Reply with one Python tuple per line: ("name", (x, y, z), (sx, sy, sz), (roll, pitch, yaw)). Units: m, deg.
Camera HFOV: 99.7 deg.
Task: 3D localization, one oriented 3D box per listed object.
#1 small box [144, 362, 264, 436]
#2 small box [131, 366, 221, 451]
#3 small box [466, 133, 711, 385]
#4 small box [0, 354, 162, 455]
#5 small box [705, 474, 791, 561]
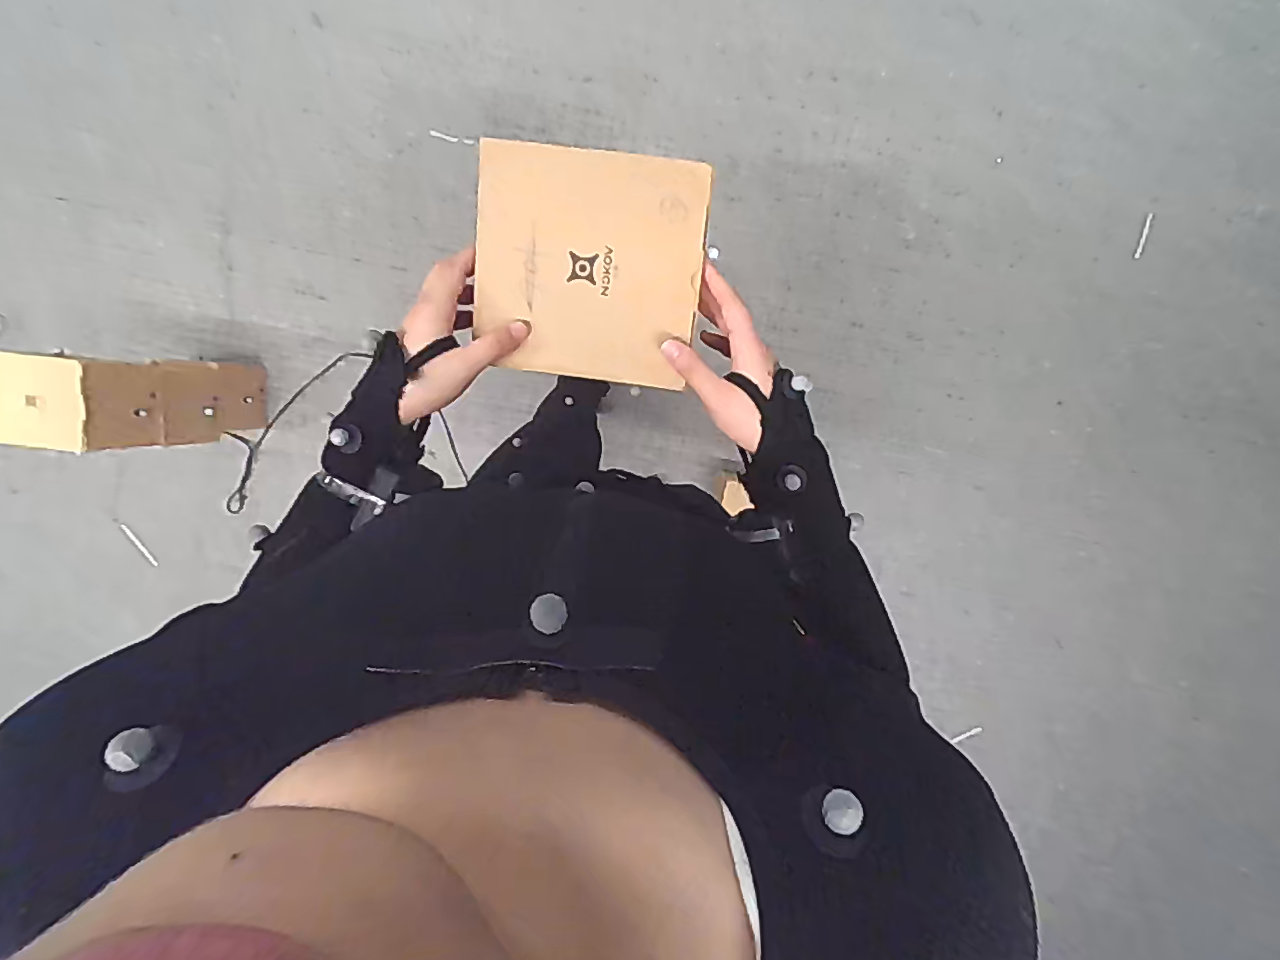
("small box", (-1.081, -0.204, 1.358), (0.179, 0.176, 0.168), (4, 98, 0))
("small box", (-1.081, -0.162, 1.198), (0.179, 0.176, 0.168), (7, 99, -1))
("small box", (-0.039, -0.180, 0.487), (0.179, 0.176, 0.168), (7, 101, 2))
("small box", (-1.077, -0.144, 1.037), (0.179, 0.176, 0.168), (6, 98, -1))
("small box", (0.270, 0.089, 1.393), (0.168, 0.176, 0.179), (12, 98, -1))
